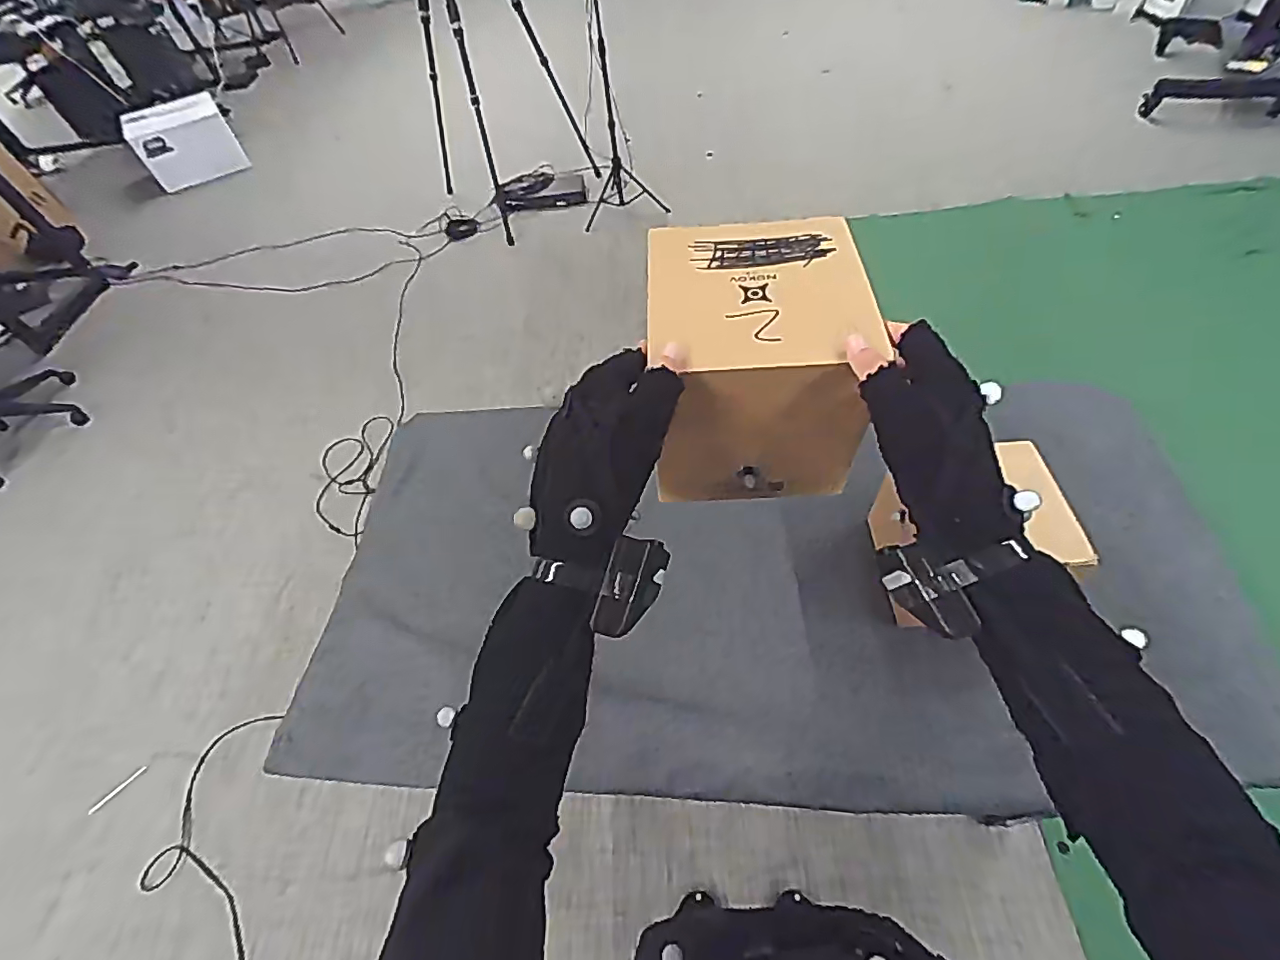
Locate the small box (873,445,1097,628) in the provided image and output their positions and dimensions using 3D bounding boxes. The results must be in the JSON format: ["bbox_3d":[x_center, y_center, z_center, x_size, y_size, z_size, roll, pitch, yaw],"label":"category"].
[{"bbox_3d":[0.420,0.076,0.700,0.168,0.176,0.179,-3,53,6],"label":"small box"}]
